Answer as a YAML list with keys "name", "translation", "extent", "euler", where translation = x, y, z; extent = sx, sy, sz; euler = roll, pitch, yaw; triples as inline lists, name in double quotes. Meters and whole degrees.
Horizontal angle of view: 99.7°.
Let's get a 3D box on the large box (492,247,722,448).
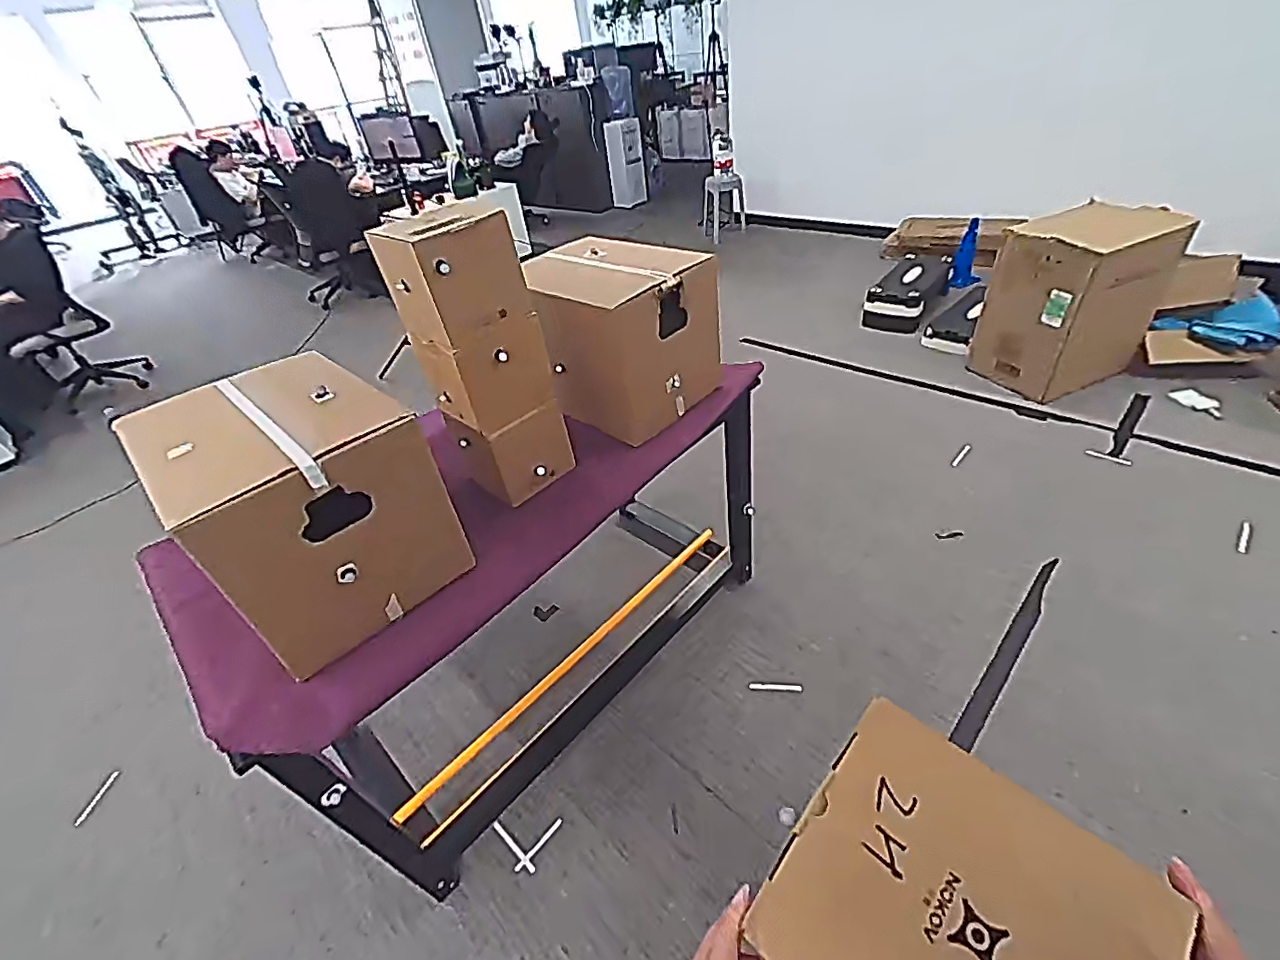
- name: "large box"
  translation: [-0.064, -0.323, 1.256]
  extent: [0.408, 0.320, 0.320]
  euler: [25, 50, 37]
